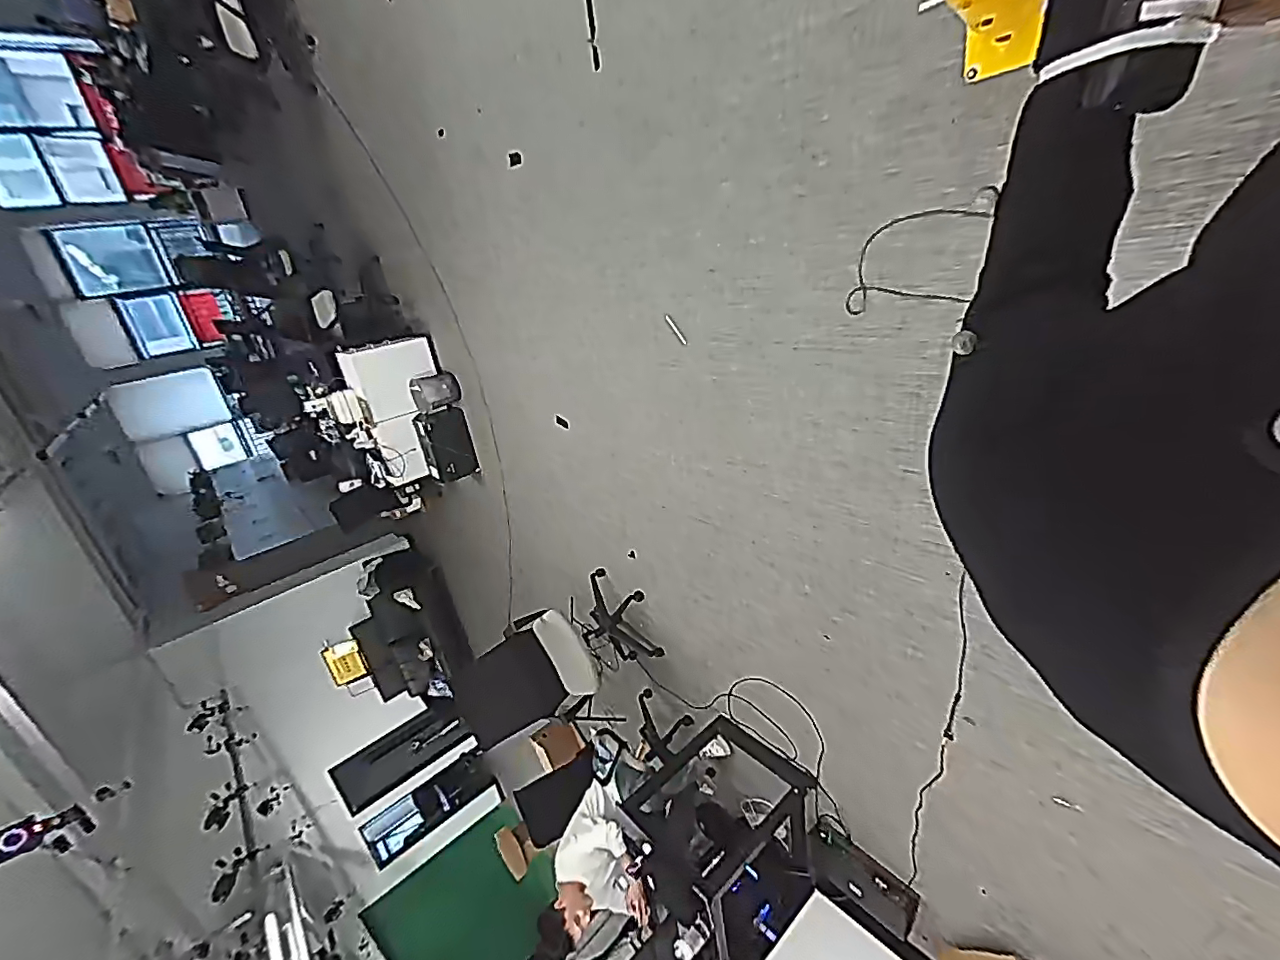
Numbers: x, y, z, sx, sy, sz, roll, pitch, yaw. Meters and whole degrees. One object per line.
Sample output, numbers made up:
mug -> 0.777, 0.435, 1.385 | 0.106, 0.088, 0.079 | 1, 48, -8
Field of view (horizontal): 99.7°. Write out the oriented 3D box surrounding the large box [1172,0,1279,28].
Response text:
large box -> 0.539, -0.451, 0.215 | 0.408, 0.320, 0.320 | 17, 130, 47
